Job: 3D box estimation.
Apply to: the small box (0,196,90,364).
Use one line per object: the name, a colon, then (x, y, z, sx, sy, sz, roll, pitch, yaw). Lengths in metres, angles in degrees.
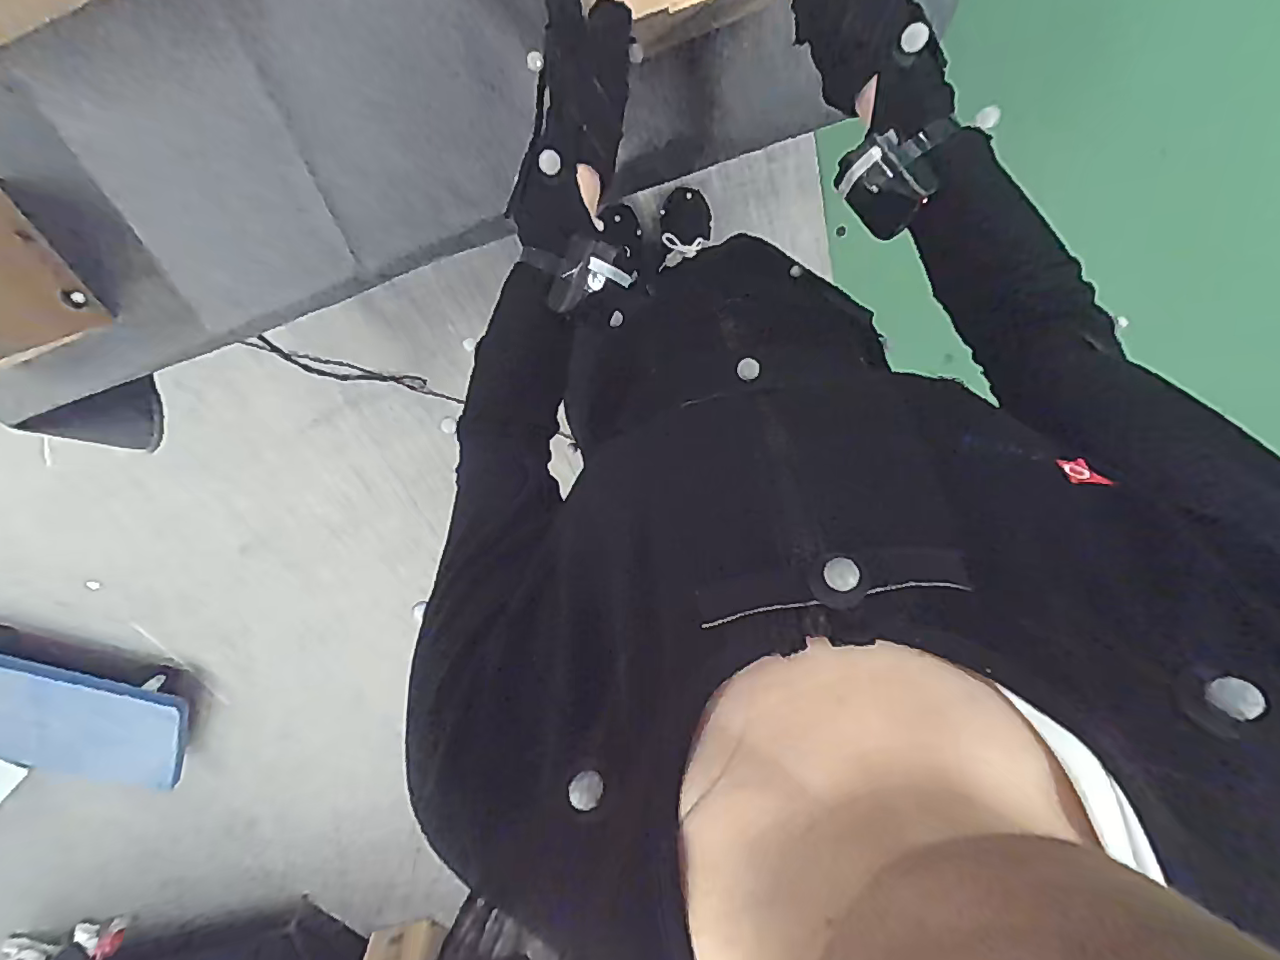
small box: (-0.743, -0.193, 0.556, 0.179, 0.176, 0.168, -18, 120, 9)
